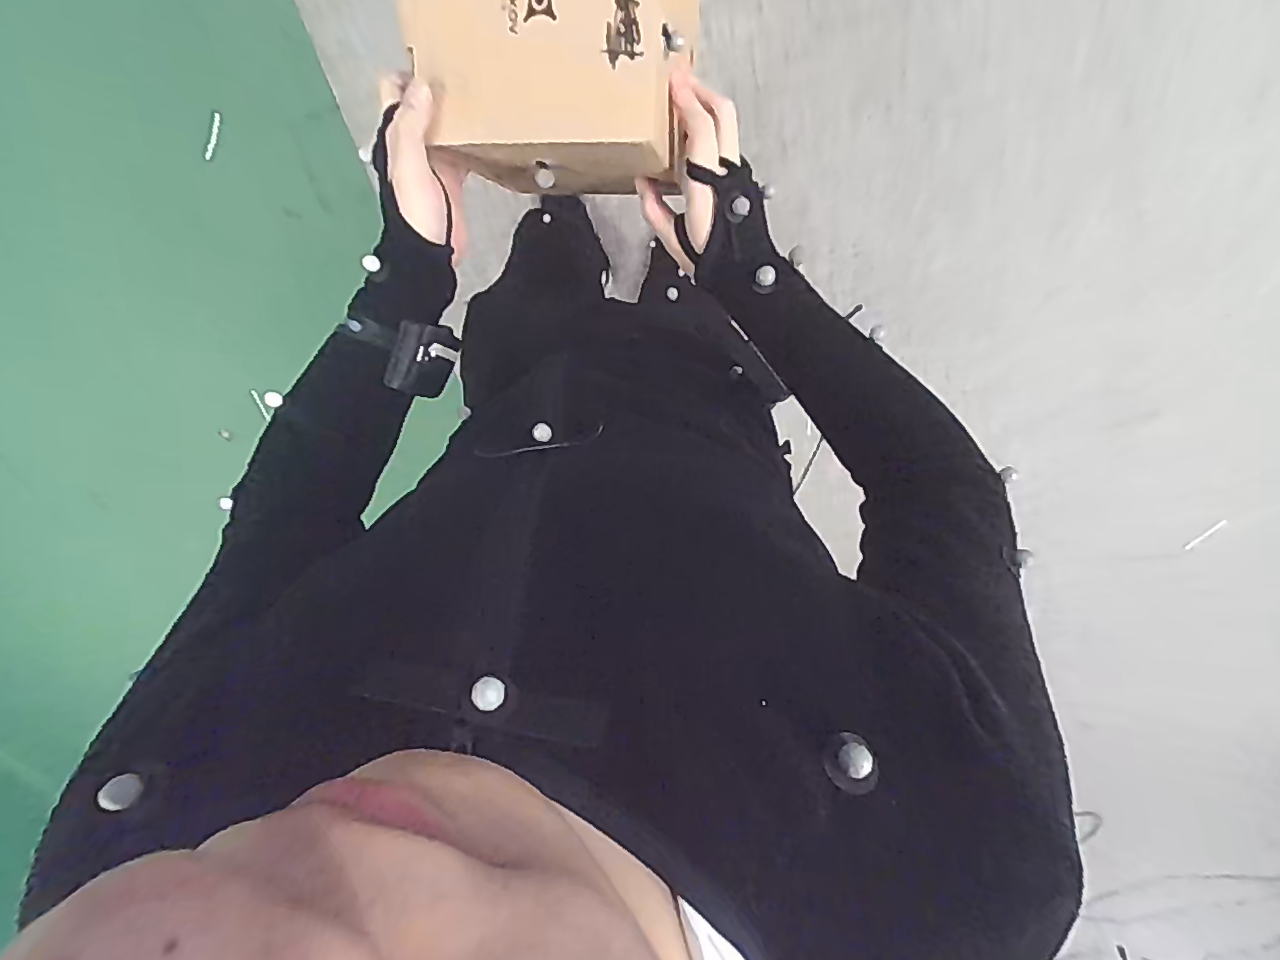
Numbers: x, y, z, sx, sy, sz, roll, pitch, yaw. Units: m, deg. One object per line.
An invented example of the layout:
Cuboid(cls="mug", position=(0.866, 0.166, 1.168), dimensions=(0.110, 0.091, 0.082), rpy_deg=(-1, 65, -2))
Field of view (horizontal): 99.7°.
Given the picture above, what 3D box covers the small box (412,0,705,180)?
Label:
Cuboid(cls="small box", position=(-0.053, -0.344, 0.422), dimensions=(0.179, 0.176, 0.168), rpy_deg=(7, 109, 12))
